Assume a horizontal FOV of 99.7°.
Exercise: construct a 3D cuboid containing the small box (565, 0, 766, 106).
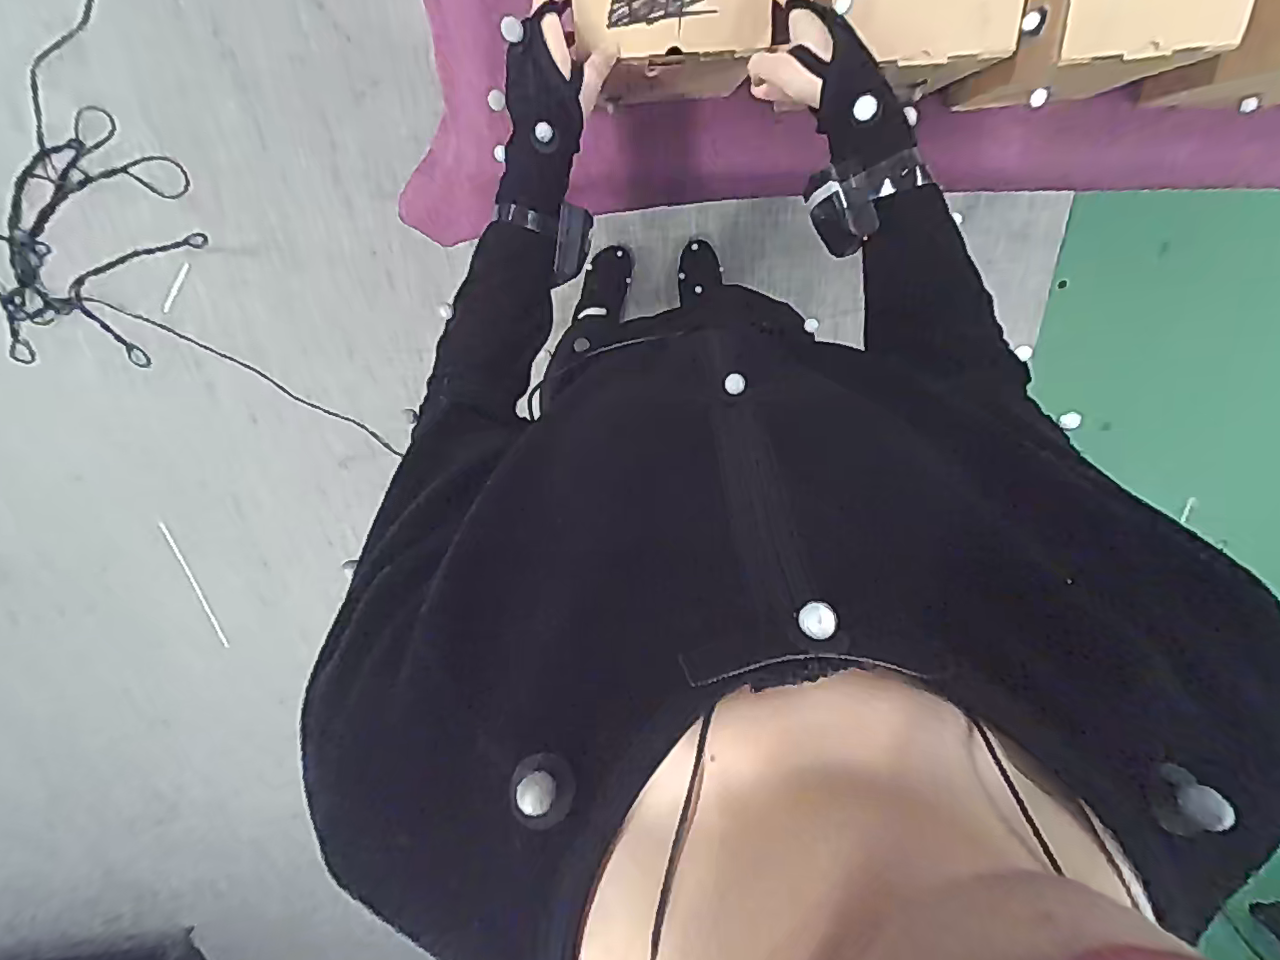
[{"bbox_3d":[0.016,-0.457,0.491,0.168,0.176,0.179,-5,115,-1],"label":"small box"}]
